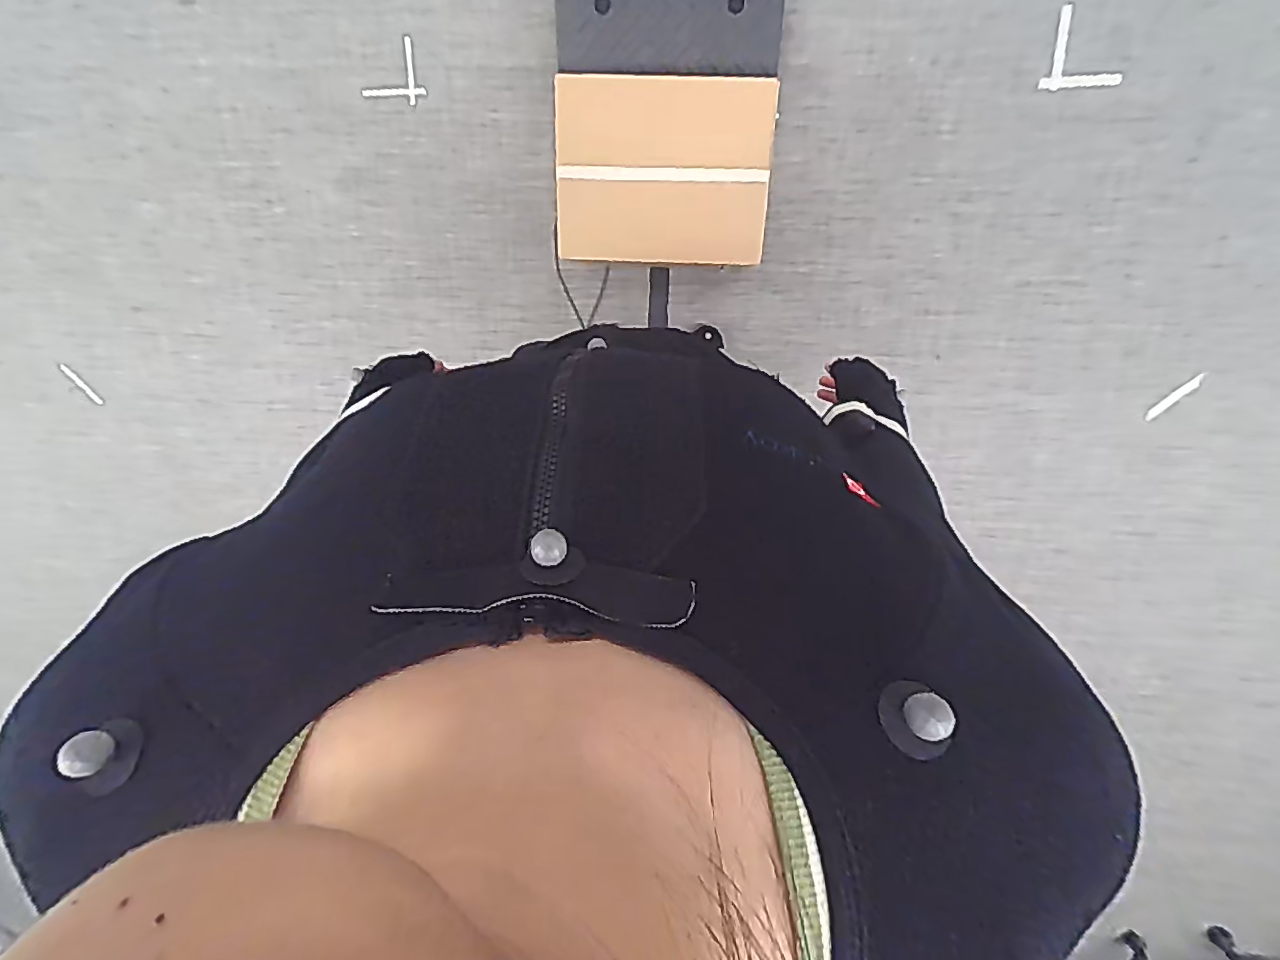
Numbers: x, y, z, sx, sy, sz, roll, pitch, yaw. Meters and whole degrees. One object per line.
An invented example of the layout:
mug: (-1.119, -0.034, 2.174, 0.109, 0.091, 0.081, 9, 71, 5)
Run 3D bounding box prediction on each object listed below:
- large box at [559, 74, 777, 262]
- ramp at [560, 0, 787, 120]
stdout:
large box: (0.058, -0.639, 1.166, 0.408, 0.320, 0.320, 3, 110, 3)
ramp: (0.072, -1.220, 1.062, 0.509, 0.206, 0.991, 0, 107, 2)
